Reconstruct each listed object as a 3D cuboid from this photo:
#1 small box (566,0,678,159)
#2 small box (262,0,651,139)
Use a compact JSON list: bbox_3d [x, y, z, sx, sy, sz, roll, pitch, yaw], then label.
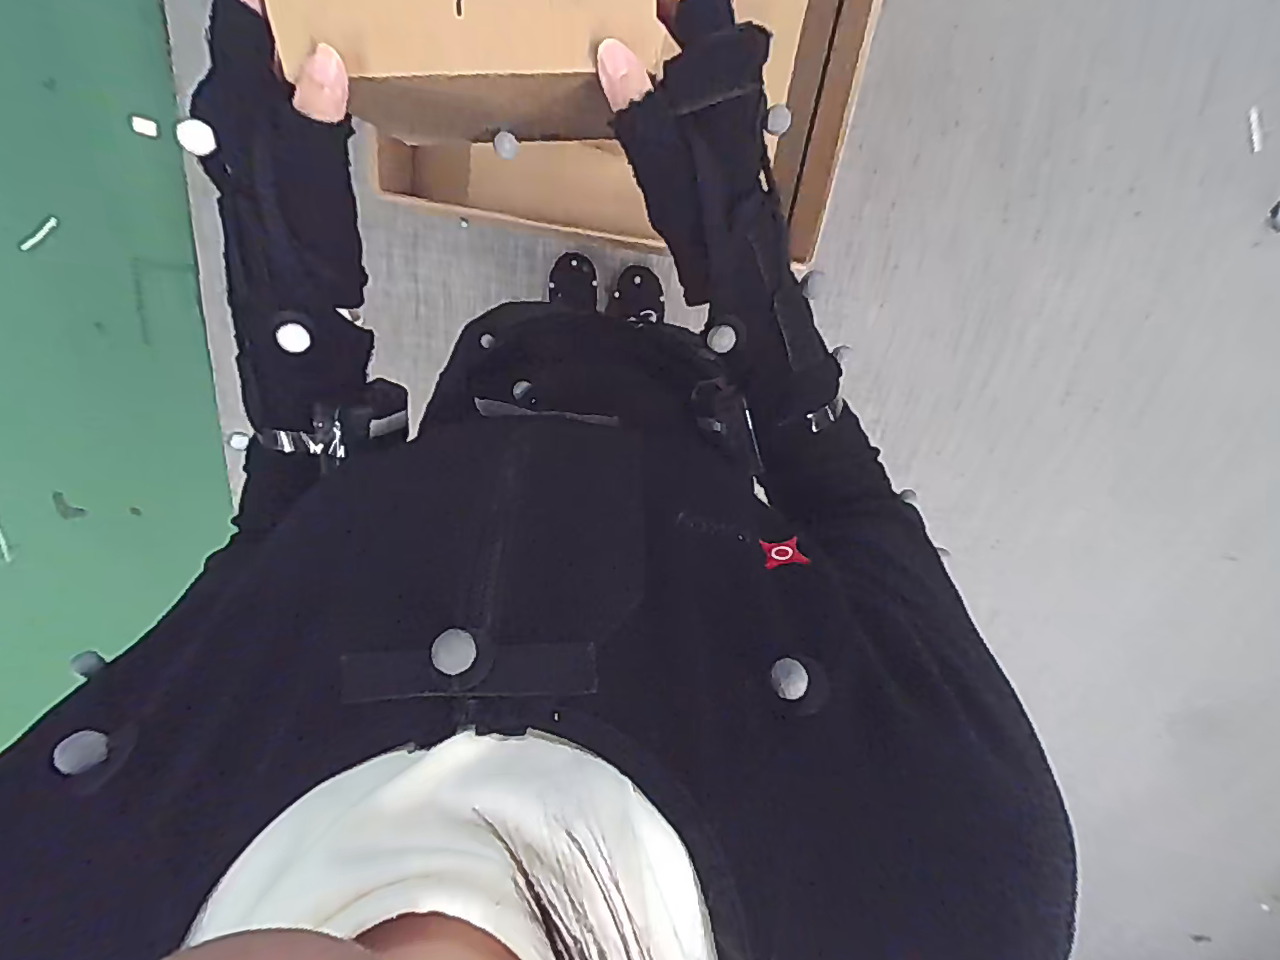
[{"bbox_3d":[-0.054,-0.557,0.716,0.168,0.176,0.179,15,111,-6],"label":"small box"},{"bbox_3d":[-0.083,-0.294,0.279,0.168,0.176,0.179,-3,114,-2],"label":"small box"}]
